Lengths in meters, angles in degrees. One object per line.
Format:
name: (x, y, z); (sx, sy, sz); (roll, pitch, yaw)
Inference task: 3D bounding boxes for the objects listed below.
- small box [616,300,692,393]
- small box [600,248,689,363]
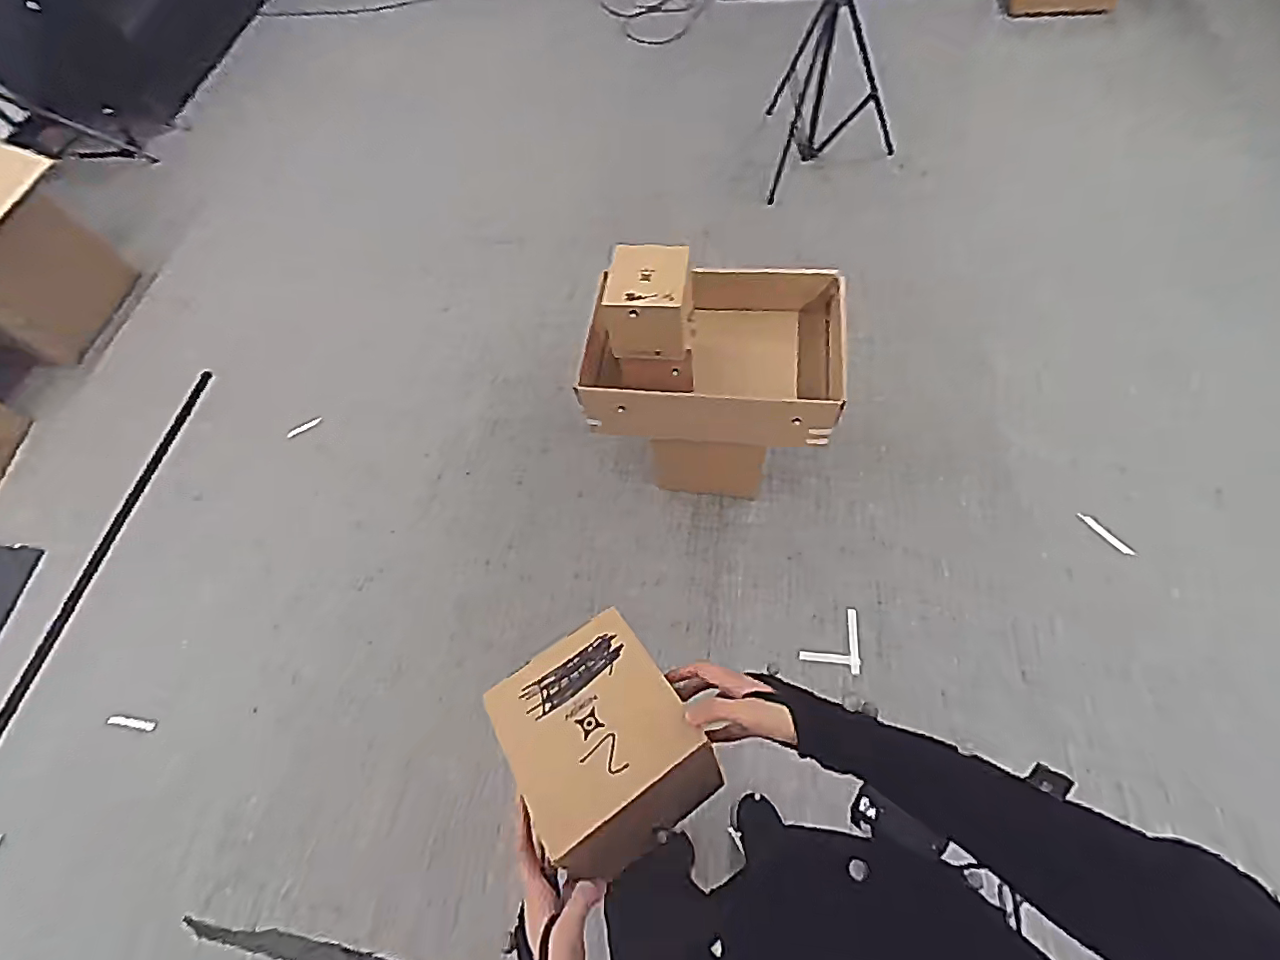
small box: (0.040, -0.330, 1.352); (0.179, 0.176, 0.168); (0, 63, 7)
small box: (0.018, -0.386, 1.199); (0.168, 0.176, 0.179); (5, 63, 10)
